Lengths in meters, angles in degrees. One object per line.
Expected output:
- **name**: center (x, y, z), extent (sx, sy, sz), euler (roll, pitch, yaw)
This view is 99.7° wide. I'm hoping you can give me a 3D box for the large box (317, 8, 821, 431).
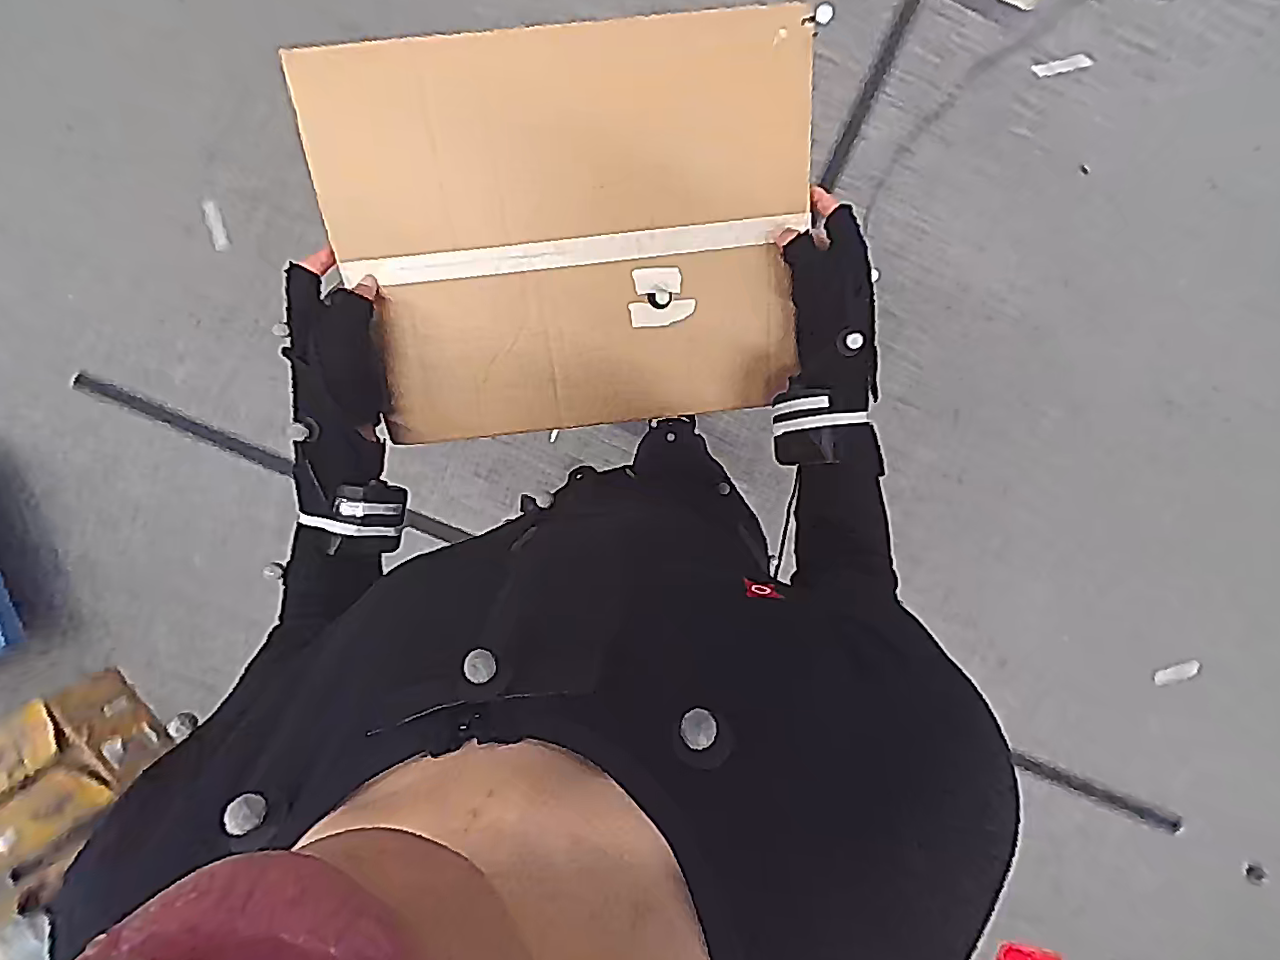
- **large box**: center (-0.053, -0.264, 0.613), extent (0.408, 0.320, 0.320), euler (-6, 113, -2)
